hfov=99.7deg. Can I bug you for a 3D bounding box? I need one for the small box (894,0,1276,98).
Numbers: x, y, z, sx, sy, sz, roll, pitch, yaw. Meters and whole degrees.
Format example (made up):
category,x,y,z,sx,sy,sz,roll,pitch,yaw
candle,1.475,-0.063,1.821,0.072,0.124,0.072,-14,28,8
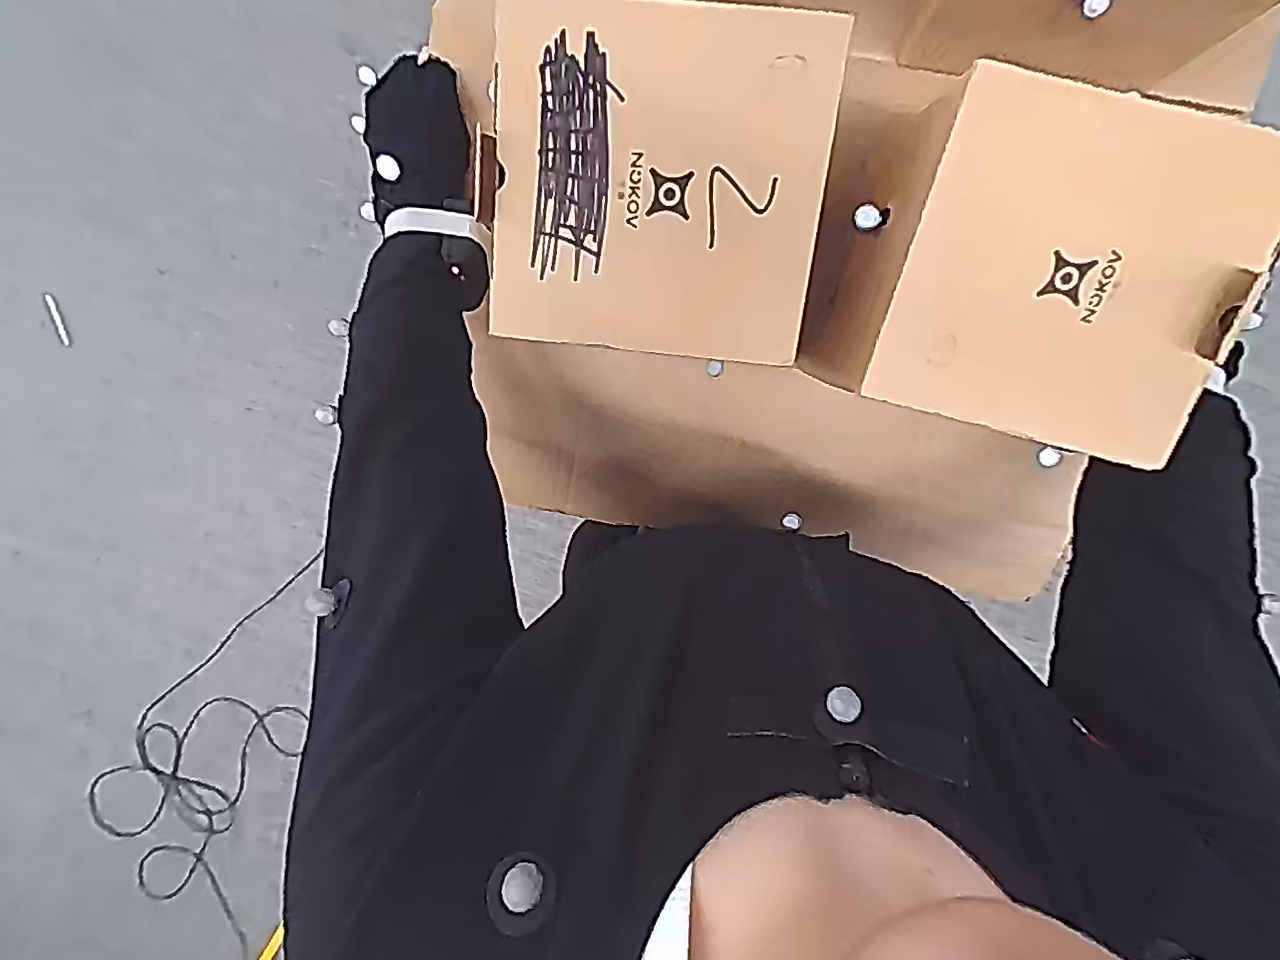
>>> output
category,x,y,z,sx,sy,sz,roll,pitch,yaw
small box,0.280,-0.355,0.306,0.179,0.176,0.168,11,100,2
